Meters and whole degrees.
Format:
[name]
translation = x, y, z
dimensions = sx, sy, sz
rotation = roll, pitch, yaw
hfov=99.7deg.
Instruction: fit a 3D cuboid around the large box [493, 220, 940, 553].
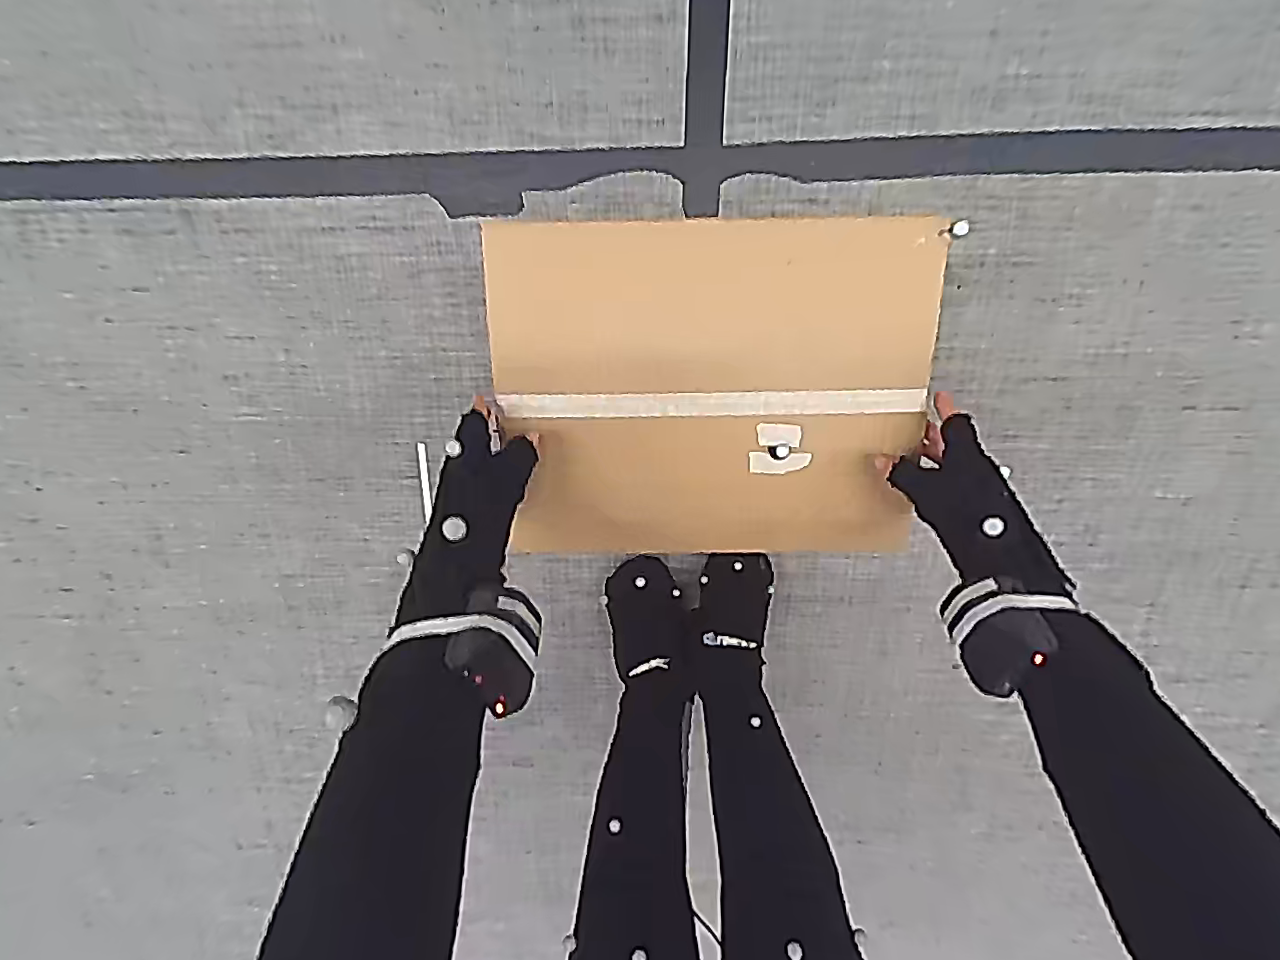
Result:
[large box]
translation = 0.070, -0.118, 0.661
dimensions = 0.408, 0.320, 0.320
rotation = -1, 108, 1
